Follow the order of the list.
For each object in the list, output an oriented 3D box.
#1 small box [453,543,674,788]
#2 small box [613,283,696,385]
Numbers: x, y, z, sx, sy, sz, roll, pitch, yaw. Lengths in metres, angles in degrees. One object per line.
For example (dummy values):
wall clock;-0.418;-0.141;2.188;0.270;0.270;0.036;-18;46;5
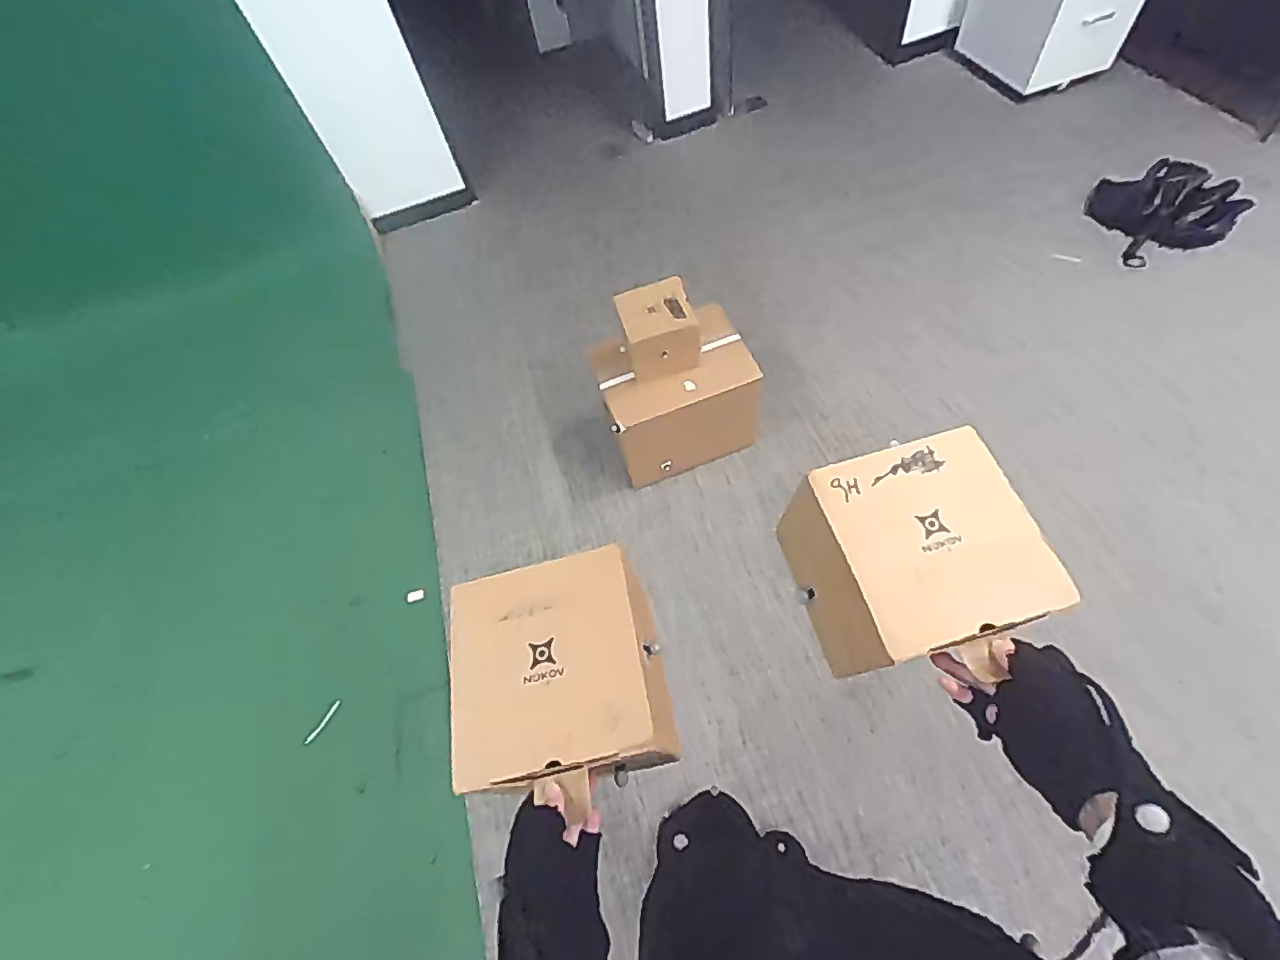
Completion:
small box;-0.069;0.190;0.535;0.168;0.176;0.179;-15;57;2
small box;0.039;-0.373;1.395;0.179;0.176;0.168;-14;62;-1
